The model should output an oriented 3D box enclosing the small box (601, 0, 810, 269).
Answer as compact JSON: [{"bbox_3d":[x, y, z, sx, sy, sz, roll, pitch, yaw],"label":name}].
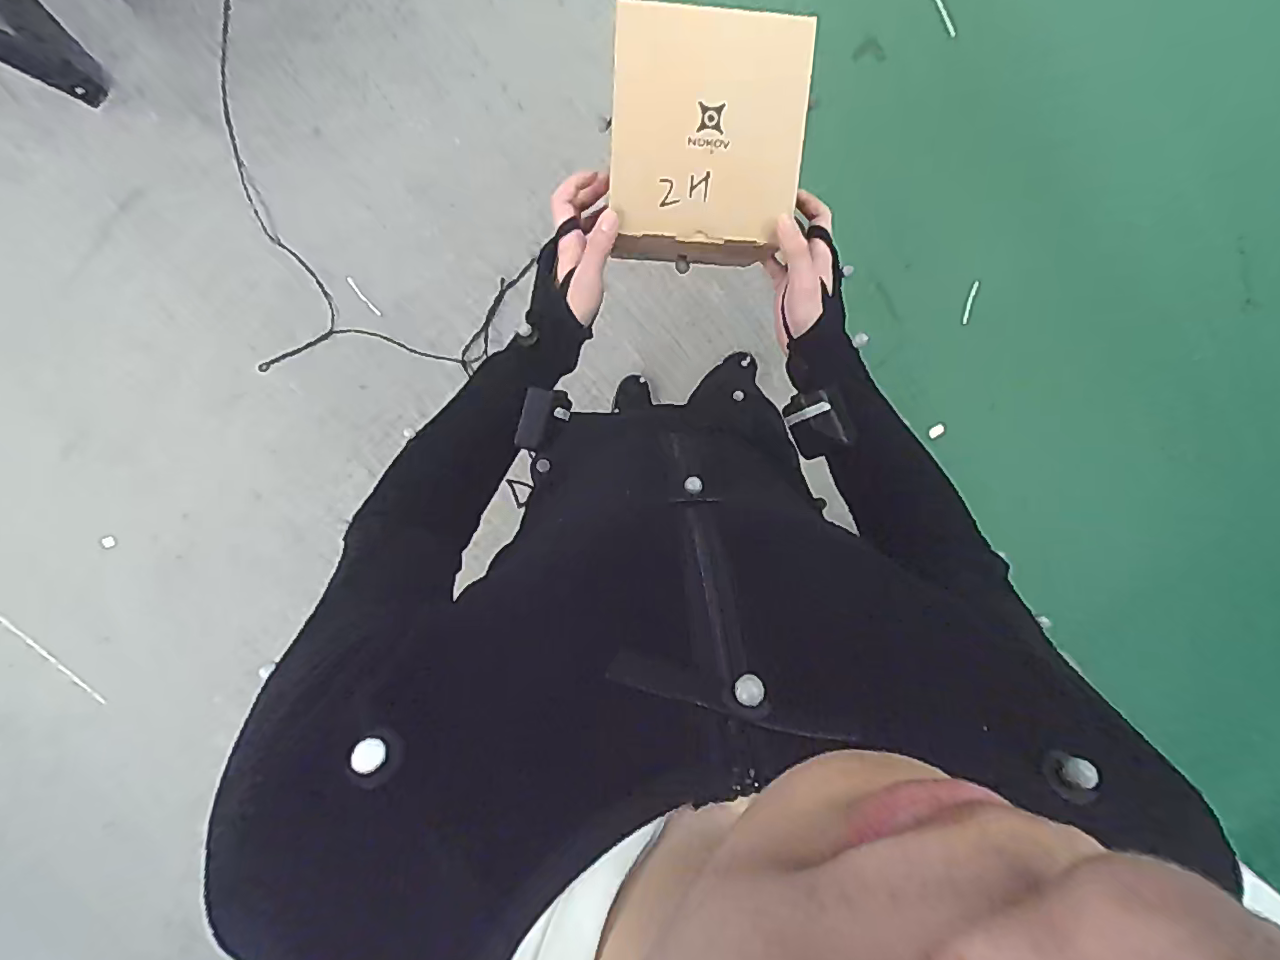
[{"bbox_3d":[0.048,-0.316,0.530,0.168,0.176,0.179,3,105,-3],"label":"small box"}]
